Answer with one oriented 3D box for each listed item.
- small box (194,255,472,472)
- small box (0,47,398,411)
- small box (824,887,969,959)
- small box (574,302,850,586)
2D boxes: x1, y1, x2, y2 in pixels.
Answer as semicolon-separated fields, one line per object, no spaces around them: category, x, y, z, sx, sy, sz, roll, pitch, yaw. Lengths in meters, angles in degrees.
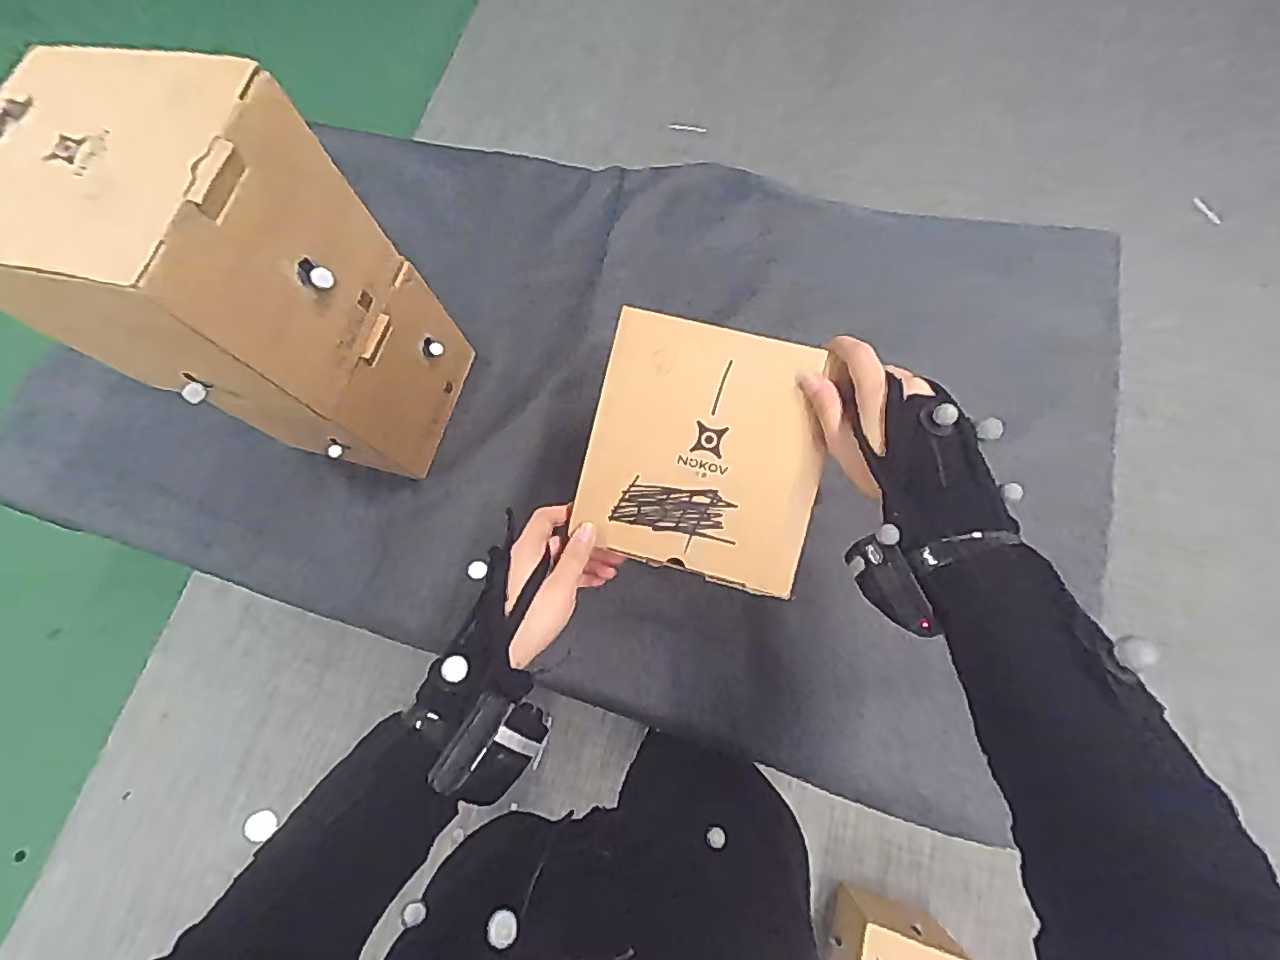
small box;-0.300;-0.120;0.556;0.179;0.176;0.168;13;72;10
small box;-0.315;-0.167;0.398;0.179;0.176;0.168;11;72;8
small box;0.441;0.854;0.942;0.179;0.176;0.168;15;73;9
small box;0.058;-0.028;0.467;0.168;0.176;0.179;14;91;5
